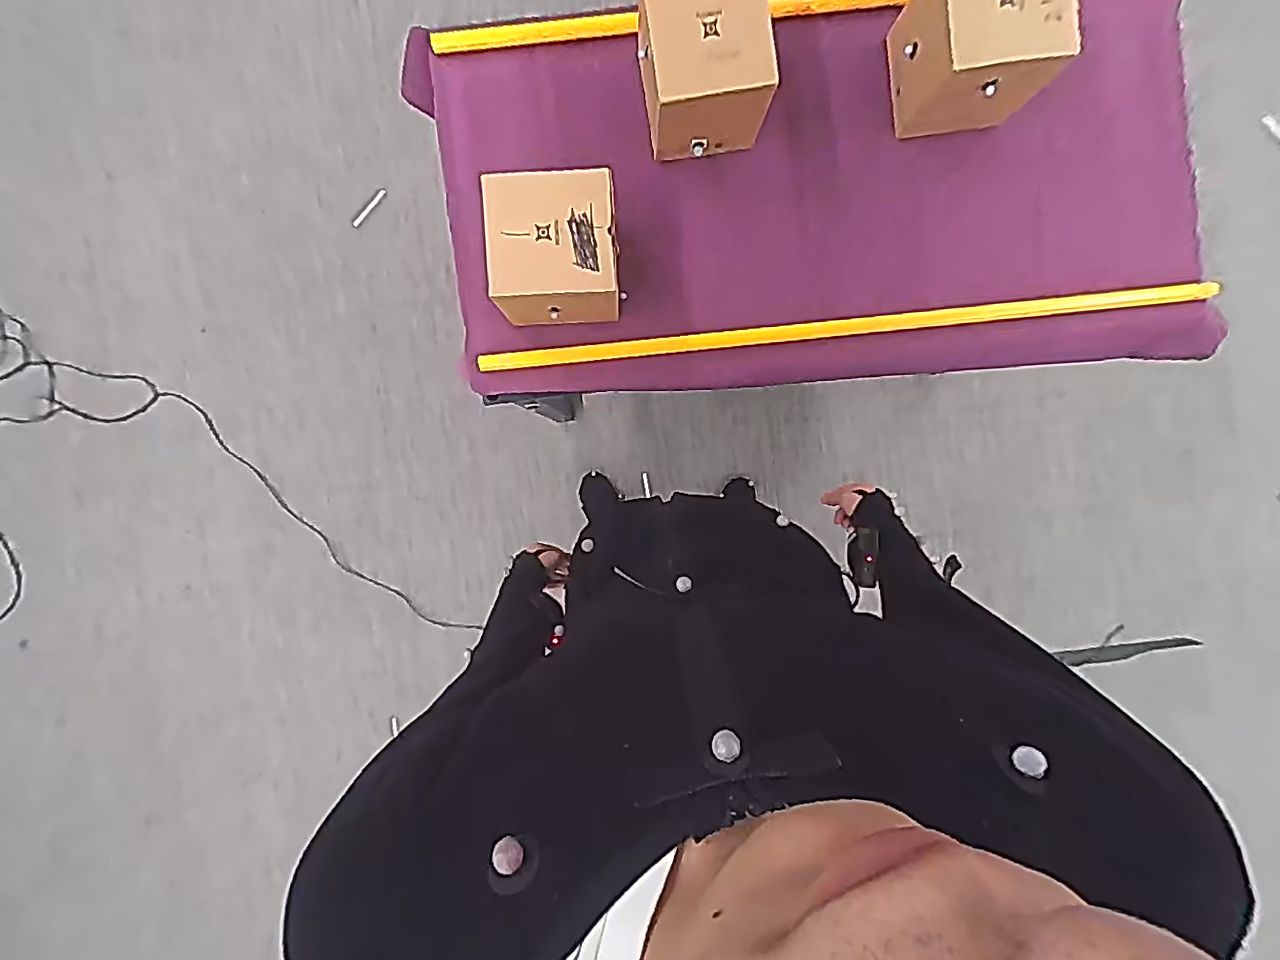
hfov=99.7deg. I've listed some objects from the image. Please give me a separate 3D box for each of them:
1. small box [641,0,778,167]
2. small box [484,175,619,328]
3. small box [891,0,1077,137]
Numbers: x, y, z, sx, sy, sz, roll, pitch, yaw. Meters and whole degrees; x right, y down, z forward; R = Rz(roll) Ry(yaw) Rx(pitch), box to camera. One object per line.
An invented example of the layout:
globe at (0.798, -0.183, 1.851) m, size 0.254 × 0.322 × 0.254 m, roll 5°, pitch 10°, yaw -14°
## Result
small box at (0.093, -0.606, 0.803) m, size 0.168 × 0.176 × 0.179 m, roll -9°, pitch 93°, yaw 1°
small box at (-0.122, -0.330, 0.809) m, size 0.179 × 0.176 × 0.168 m, roll -3°, pitch 92°, yaw -1°
small box at (0.493, -0.641, 0.803) m, size 0.179 × 0.176 × 0.168 m, roll -7°, pitch 94°, yaw 0°
